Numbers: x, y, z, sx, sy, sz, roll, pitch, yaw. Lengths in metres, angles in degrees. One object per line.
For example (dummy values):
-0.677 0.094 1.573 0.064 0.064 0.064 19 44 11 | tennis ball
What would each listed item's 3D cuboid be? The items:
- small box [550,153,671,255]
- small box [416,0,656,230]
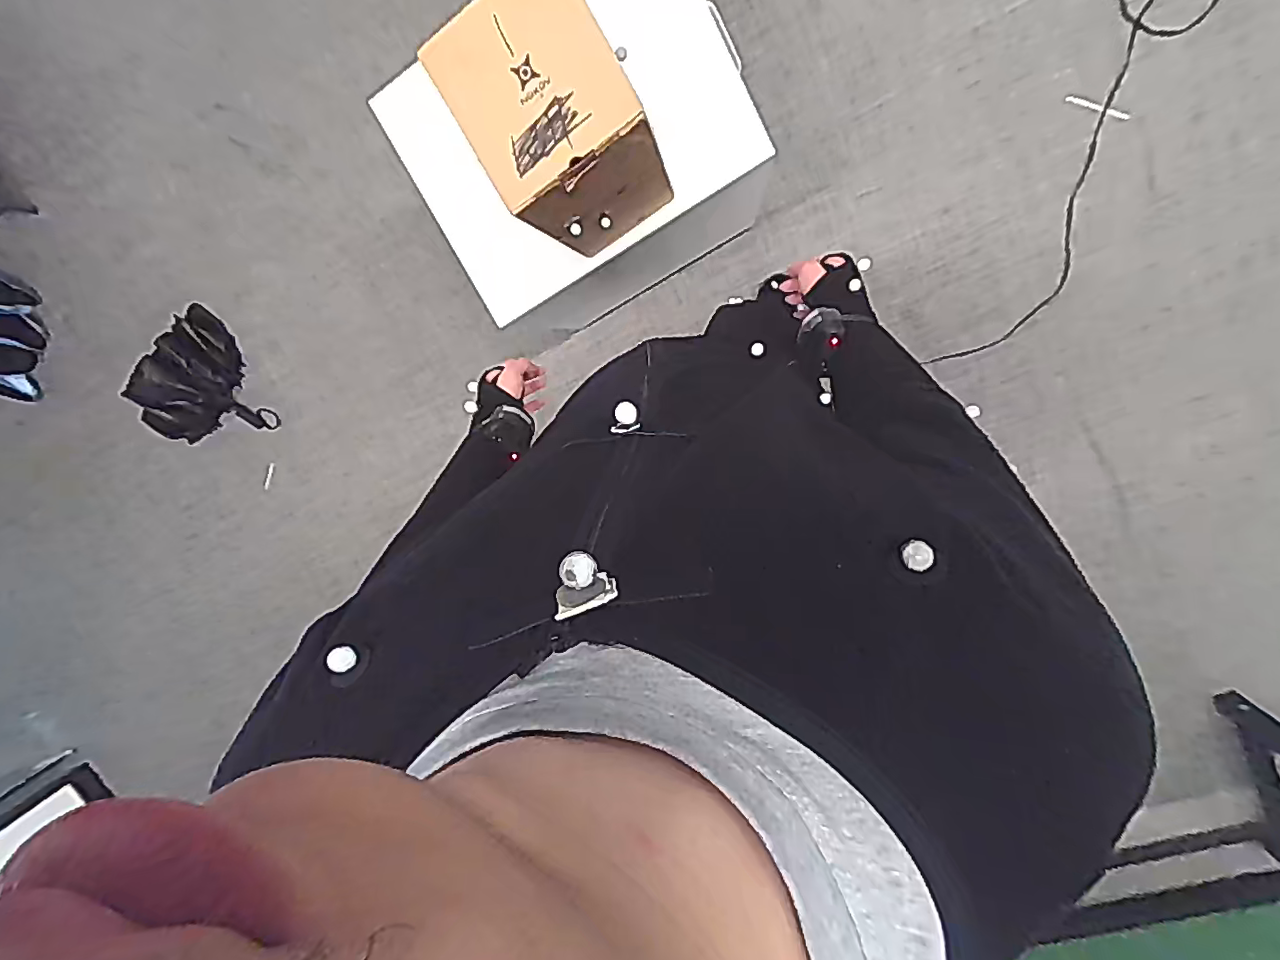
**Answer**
-0.073 -0.443 0.754 0.168 0.176 0.179 -30 97 15 | small box
-0.097 -0.402 0.596 0.168 0.176 0.179 -30 97 14 | small box
